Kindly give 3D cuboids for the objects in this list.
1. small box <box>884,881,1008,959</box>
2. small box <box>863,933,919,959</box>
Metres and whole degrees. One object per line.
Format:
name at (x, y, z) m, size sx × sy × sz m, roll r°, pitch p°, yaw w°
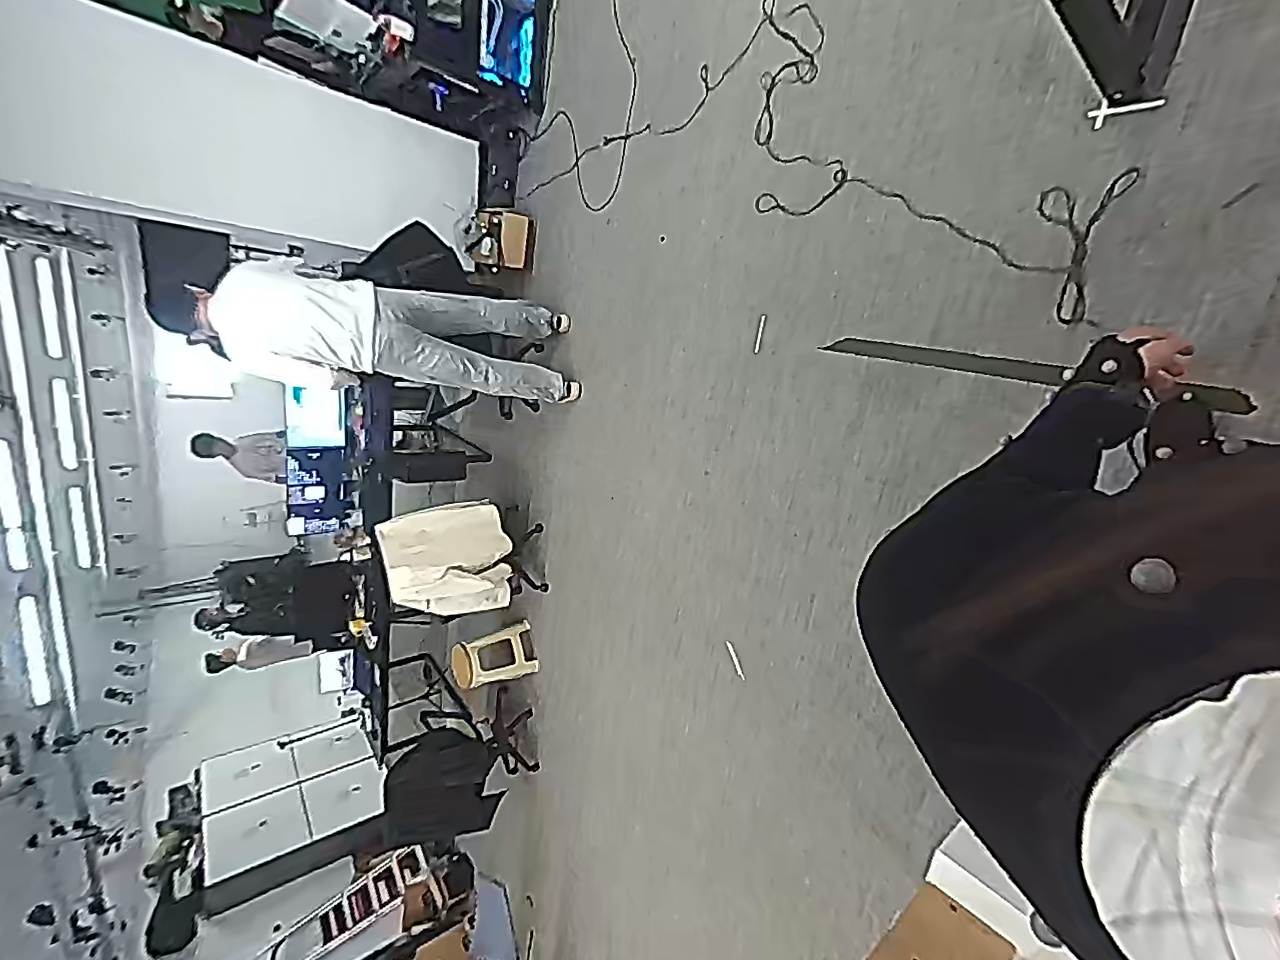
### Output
small box at (0.560, 0.921, 1.015) m, size 0.168 × 0.176 × 0.179 m, roll 21°, pitch 110°, yaw 46°
small box at (0.435, 0.933, 0.909) m, size 0.168 × 0.176 × 0.179 m, roll 22°, pitch 111°, yaw 46°
